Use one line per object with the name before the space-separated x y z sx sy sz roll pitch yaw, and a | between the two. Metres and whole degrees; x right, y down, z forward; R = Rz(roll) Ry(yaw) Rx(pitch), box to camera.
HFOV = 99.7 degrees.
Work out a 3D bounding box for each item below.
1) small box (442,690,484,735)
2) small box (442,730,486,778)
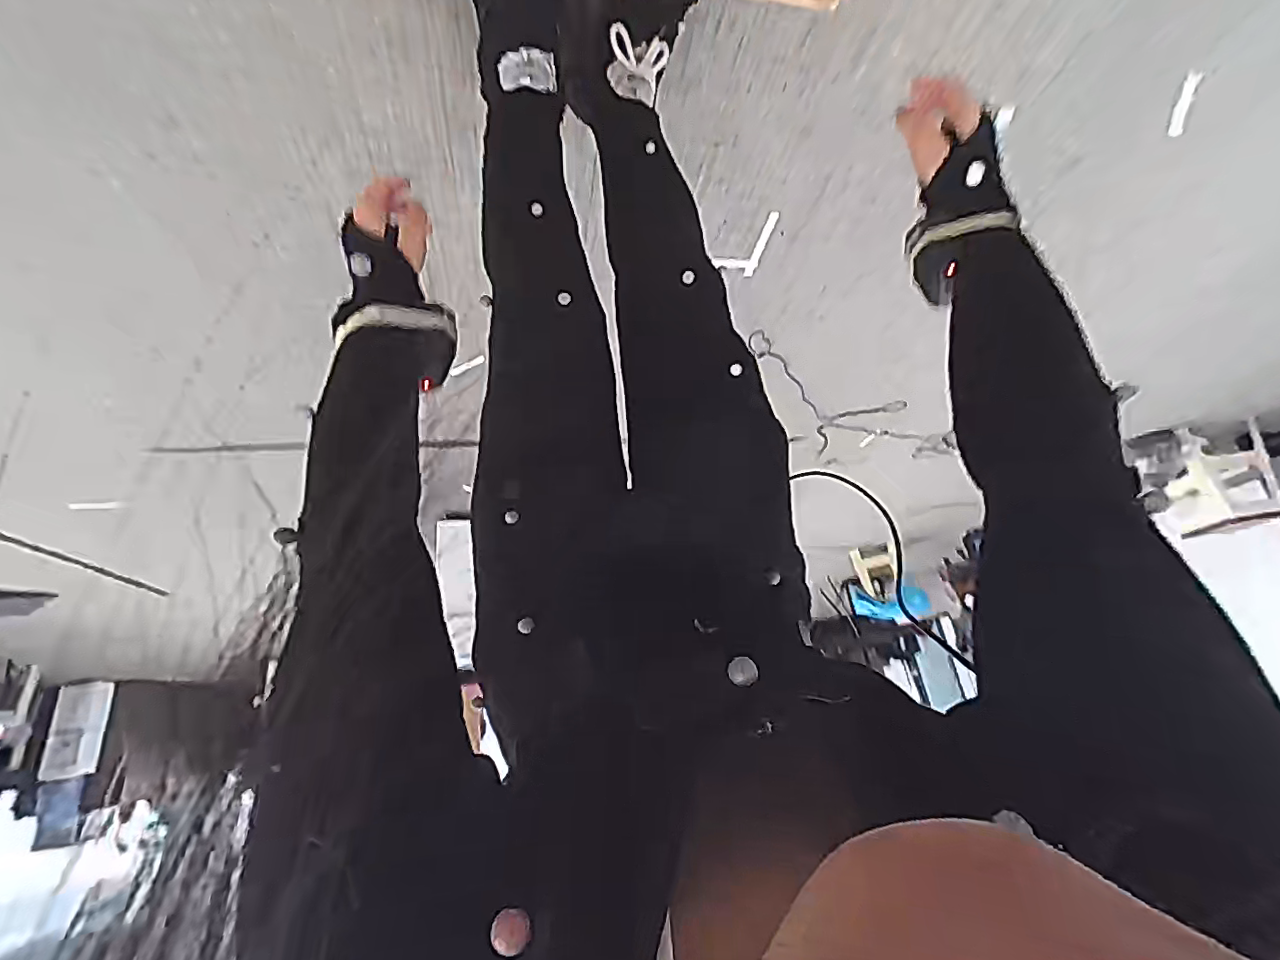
small box | -0.805 1.062 2.465 0.179 0.176 0.168 -1 156 -17
small box | -0.783 1.212 2.402 0.179 0.176 0.168 -1 155 -18
